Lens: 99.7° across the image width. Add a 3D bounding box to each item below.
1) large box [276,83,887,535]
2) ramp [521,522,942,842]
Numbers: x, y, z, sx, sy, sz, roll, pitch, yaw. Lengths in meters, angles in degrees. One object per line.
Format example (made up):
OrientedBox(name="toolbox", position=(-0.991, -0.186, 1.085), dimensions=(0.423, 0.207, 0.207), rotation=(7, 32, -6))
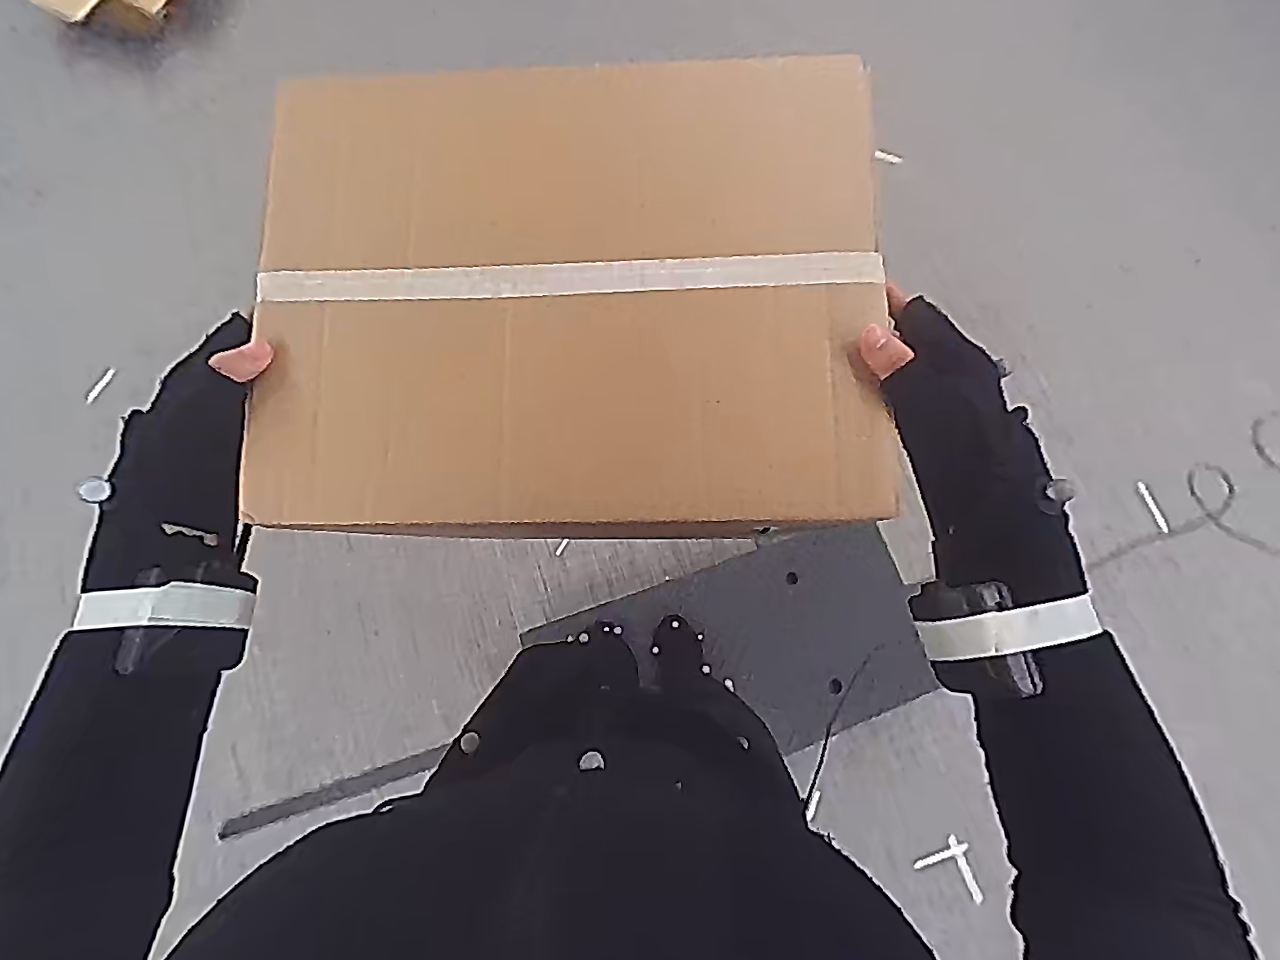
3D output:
OrientedBox(name="large box", position=(-0.035, -0.104, 0.512), dimensions=(0.408, 0.320, 0.320), rotation=(0, 82, 3))
OrientedBox(name="ramp", position=(0.249, 0.450, 1.373), dimensions=(0.991, 0.206, 0.509), rotation=(-21, 76, -2))
